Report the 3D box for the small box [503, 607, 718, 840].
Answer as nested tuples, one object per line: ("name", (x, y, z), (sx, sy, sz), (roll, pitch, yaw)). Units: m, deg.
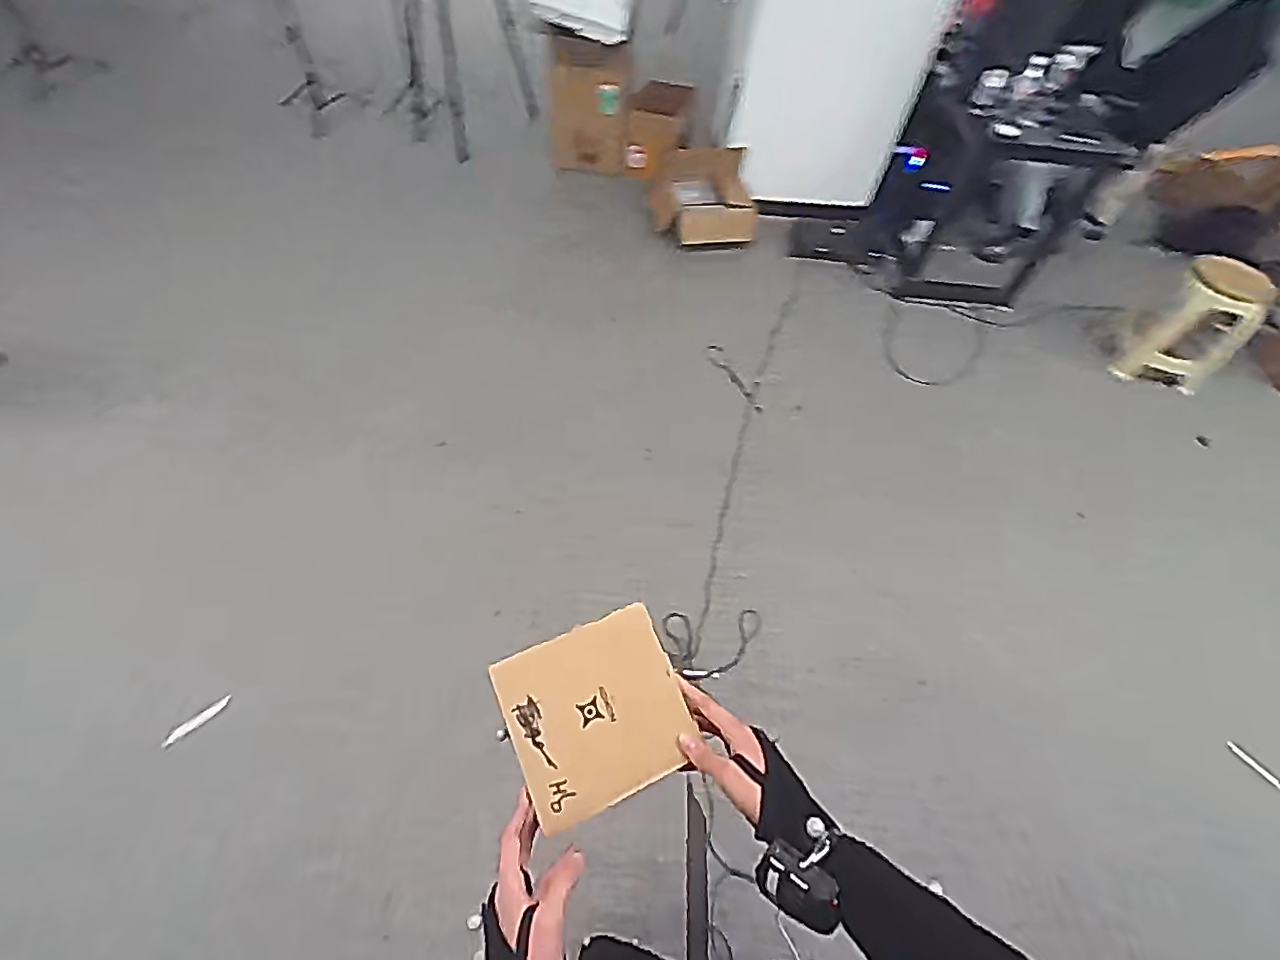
("small box", (-0.043, 0.262, 0.608), (0.179, 0.176, 0.168), (-18, 70, -17))
